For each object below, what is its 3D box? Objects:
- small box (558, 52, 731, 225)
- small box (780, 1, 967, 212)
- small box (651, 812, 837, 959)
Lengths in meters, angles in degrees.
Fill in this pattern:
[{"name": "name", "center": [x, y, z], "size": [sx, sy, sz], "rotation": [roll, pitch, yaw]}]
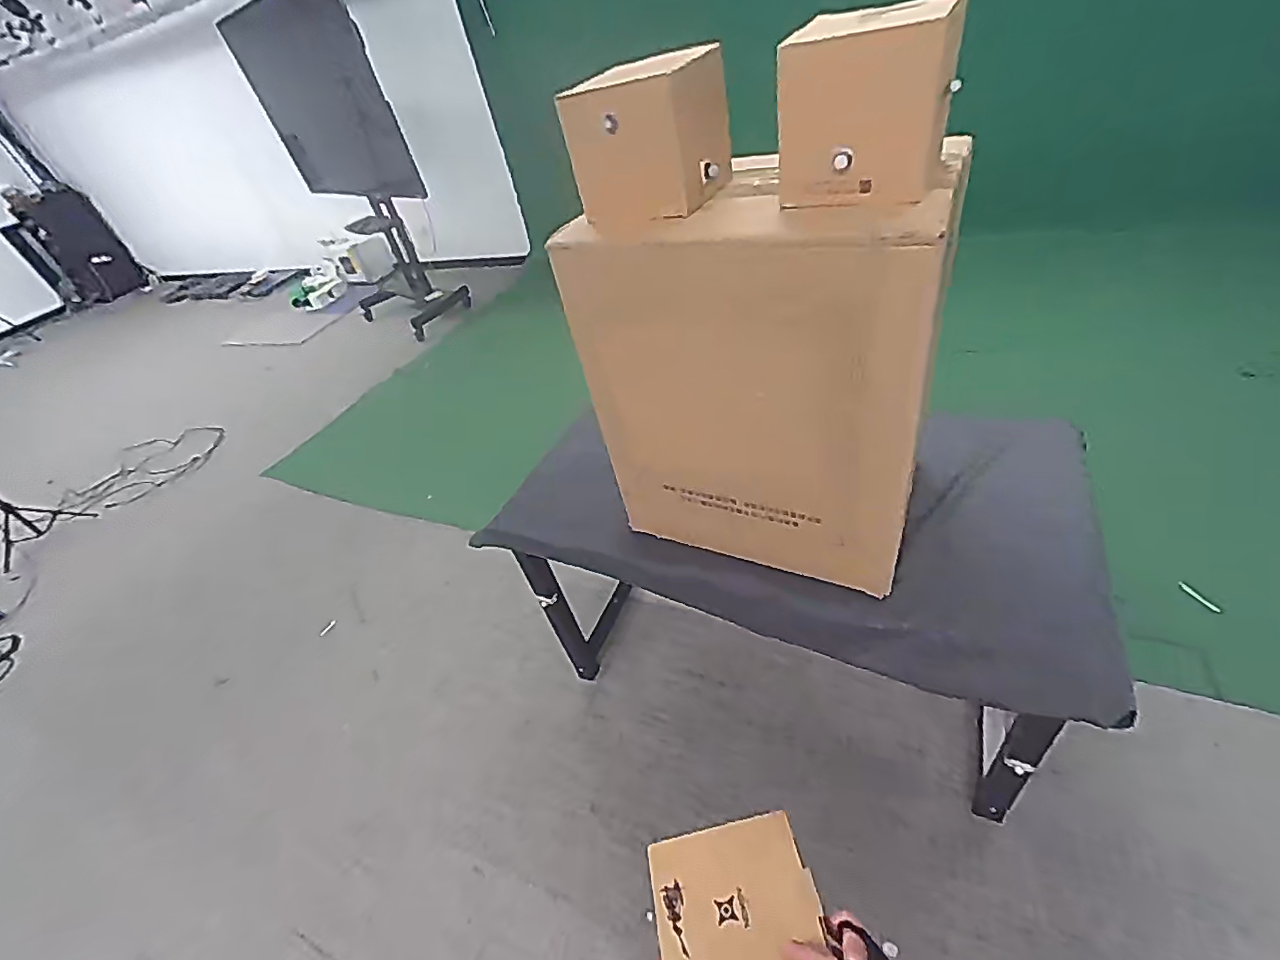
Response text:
[{"name": "small box", "center": [0.017, -0.480, 0.776], "size": [0.179, 0.176, 0.168], "rotation": [13, 50, 27]}, {"name": "small box", "center": [0.272, -0.440, 0.649], "size": [0.168, 0.176, 0.179], "rotation": [13, 50, 27]}, {"name": "small box", "center": [0.122, 0.527, 0.635], "size": [0.179, 0.176, 0.168], "rotation": [-14, 36, 2]}]
